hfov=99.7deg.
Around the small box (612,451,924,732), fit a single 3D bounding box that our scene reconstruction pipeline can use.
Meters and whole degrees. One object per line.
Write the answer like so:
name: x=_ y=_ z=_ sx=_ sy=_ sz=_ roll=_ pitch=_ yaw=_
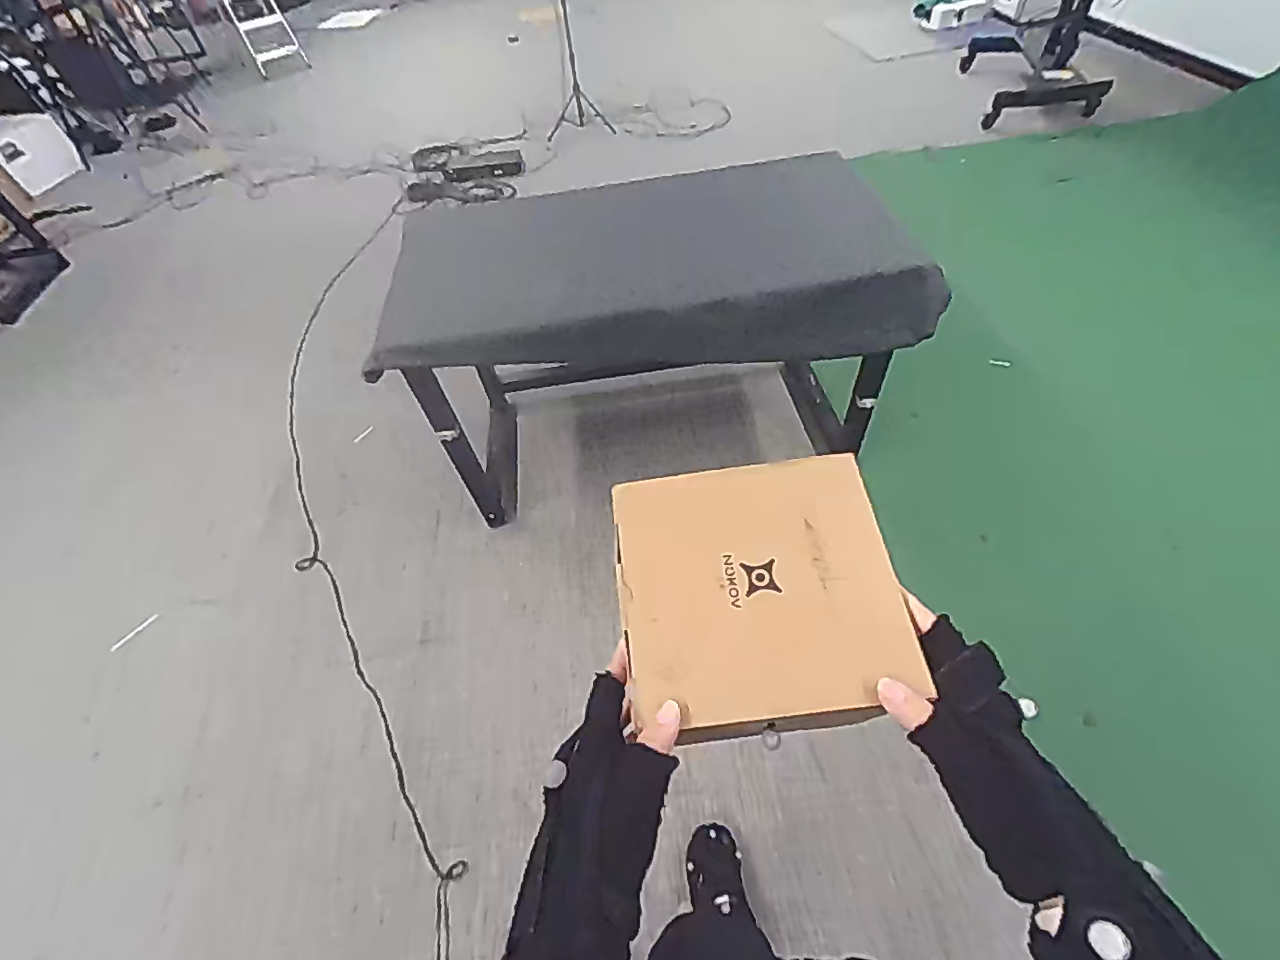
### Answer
small box: x=0.080 y=0.098 z=0.426 sx=0.179 sy=0.176 sz=0.168 roll=-8 pitch=63 yaw=0
